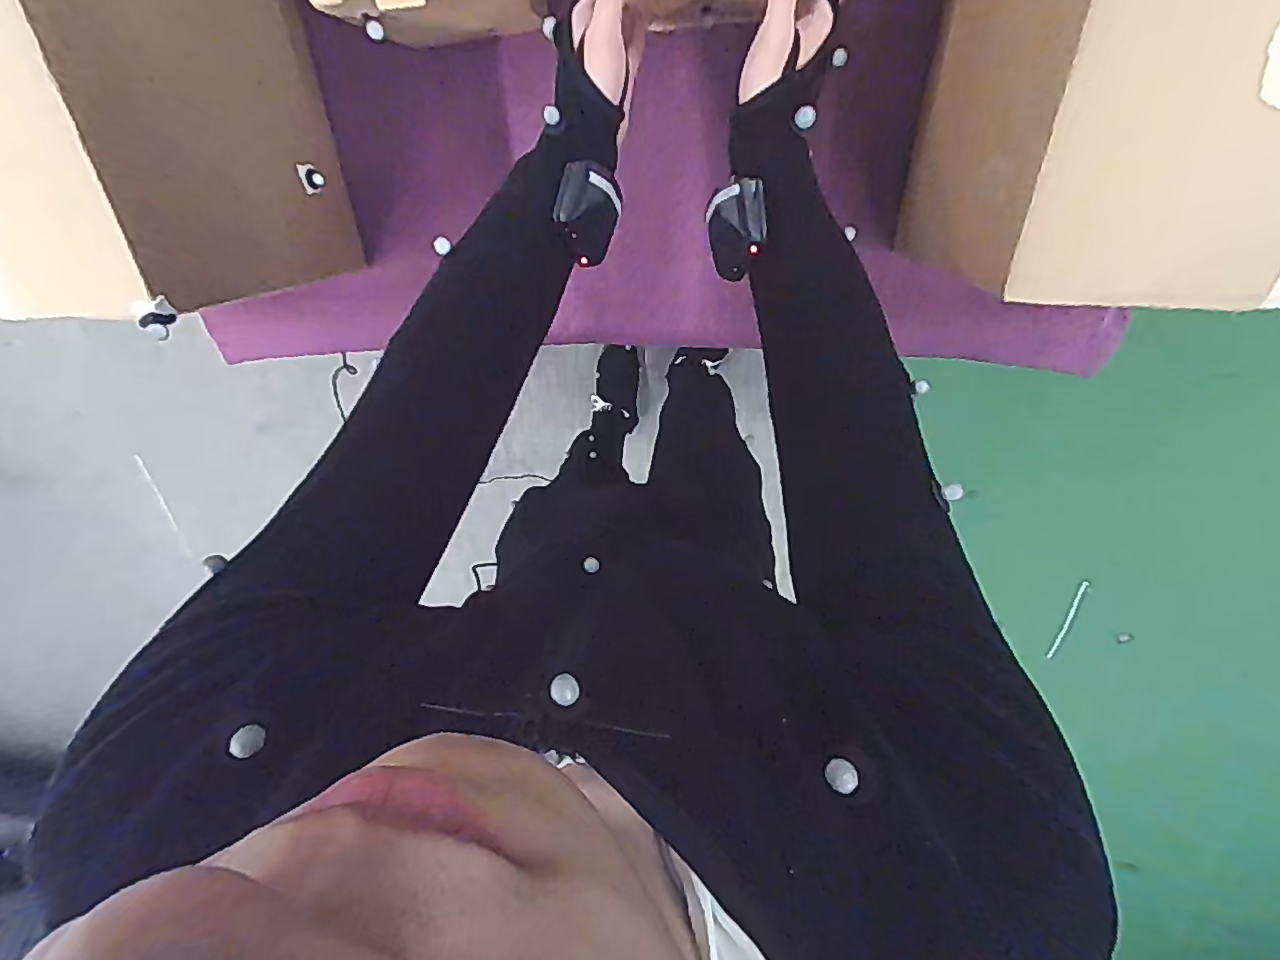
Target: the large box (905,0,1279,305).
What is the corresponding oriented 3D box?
[{"bbox_3d":[0.423,-0.359,0.377,0.320,0.320,0.408,4,120,9],"label":"large box"}]
